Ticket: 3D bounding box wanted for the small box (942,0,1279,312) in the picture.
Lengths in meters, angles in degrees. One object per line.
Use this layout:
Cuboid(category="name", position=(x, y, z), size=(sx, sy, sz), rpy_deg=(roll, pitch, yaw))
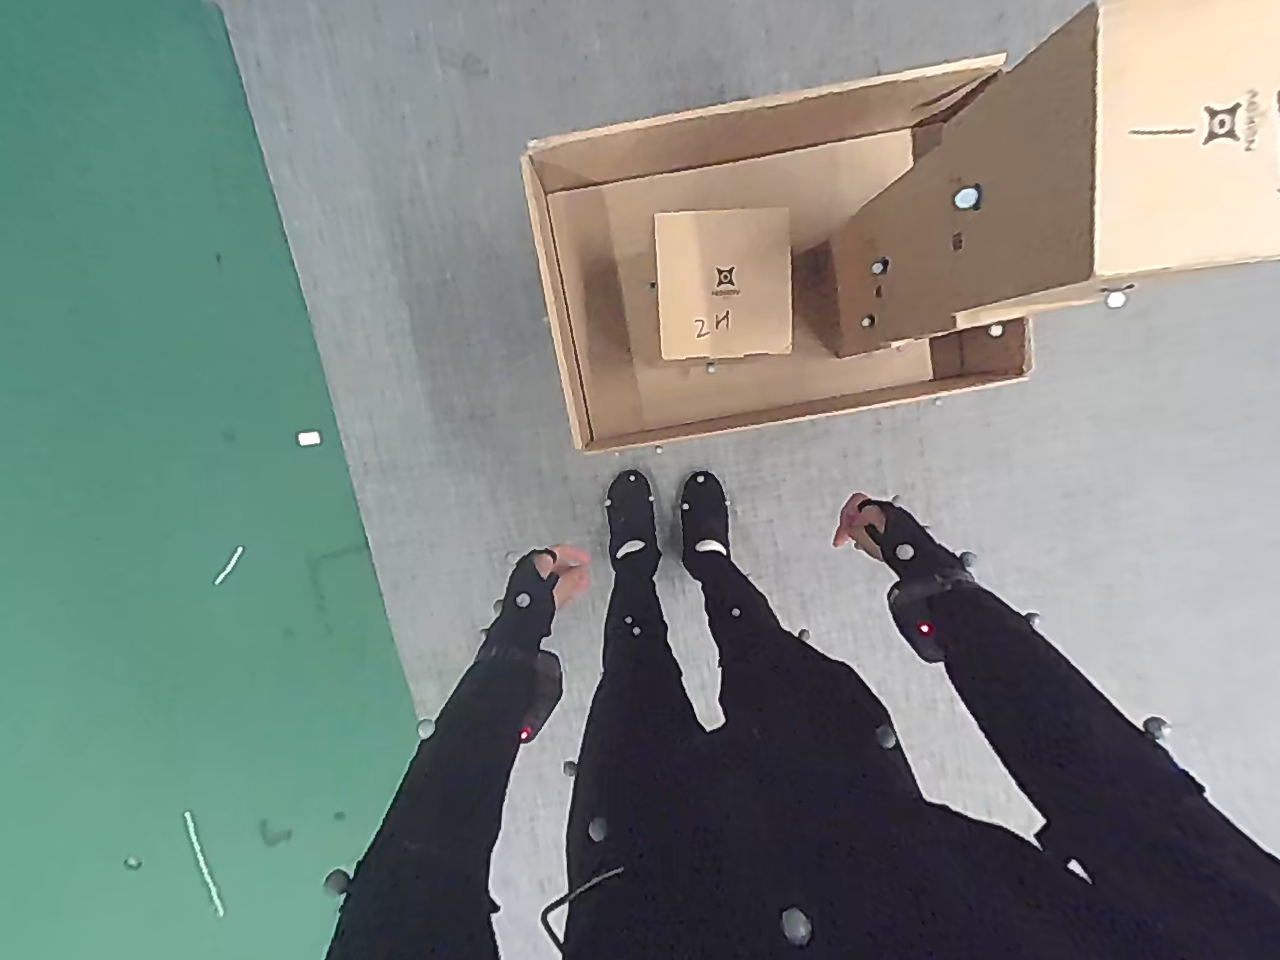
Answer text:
Cuboid(category="small box", position=(0.362, -0.230, 0.411), size=(0.179, 0.176, 0.168), rpy_deg=(-6, 99, 1))
